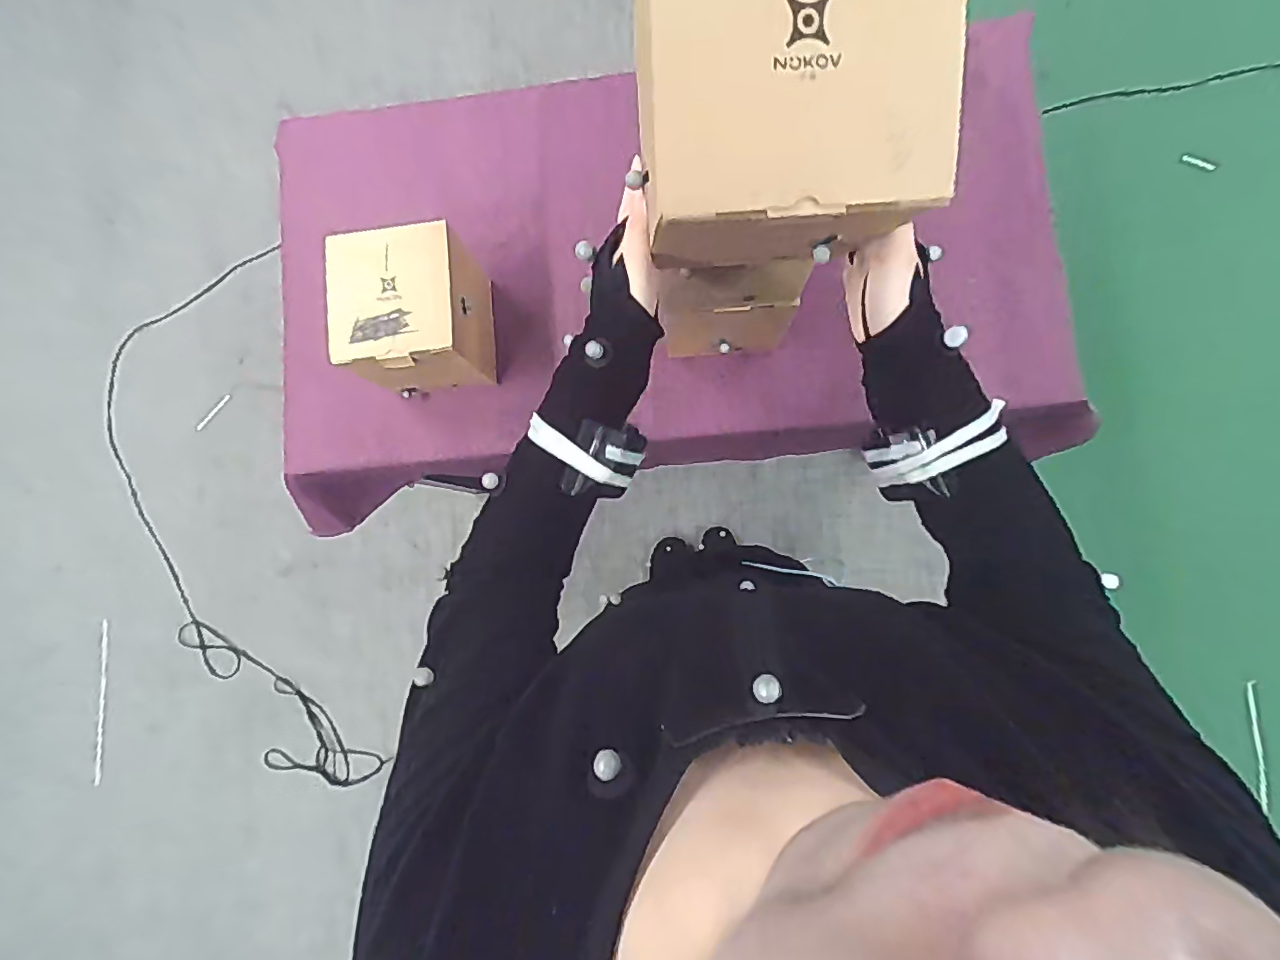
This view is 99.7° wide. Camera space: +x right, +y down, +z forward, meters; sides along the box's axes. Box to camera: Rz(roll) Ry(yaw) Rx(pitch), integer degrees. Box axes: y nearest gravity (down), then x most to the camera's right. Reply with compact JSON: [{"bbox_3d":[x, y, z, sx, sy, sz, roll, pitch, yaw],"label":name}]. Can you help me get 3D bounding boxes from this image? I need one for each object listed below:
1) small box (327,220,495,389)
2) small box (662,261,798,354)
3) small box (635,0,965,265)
[{"bbox_3d":[-0.316,-0.236,0.774,0.168,0.176,0.179,-6,83,4],"label":"small box"},{"bbox_3d":[0.114,-0.287,0.742,0.168,0.176,0.179,-3,85,5],"label":"small box"},{"bbox_3d":[0.082,-0.243,0.355,0.168,0.176,0.179,-3,104,-1],"label":"small box"}]
